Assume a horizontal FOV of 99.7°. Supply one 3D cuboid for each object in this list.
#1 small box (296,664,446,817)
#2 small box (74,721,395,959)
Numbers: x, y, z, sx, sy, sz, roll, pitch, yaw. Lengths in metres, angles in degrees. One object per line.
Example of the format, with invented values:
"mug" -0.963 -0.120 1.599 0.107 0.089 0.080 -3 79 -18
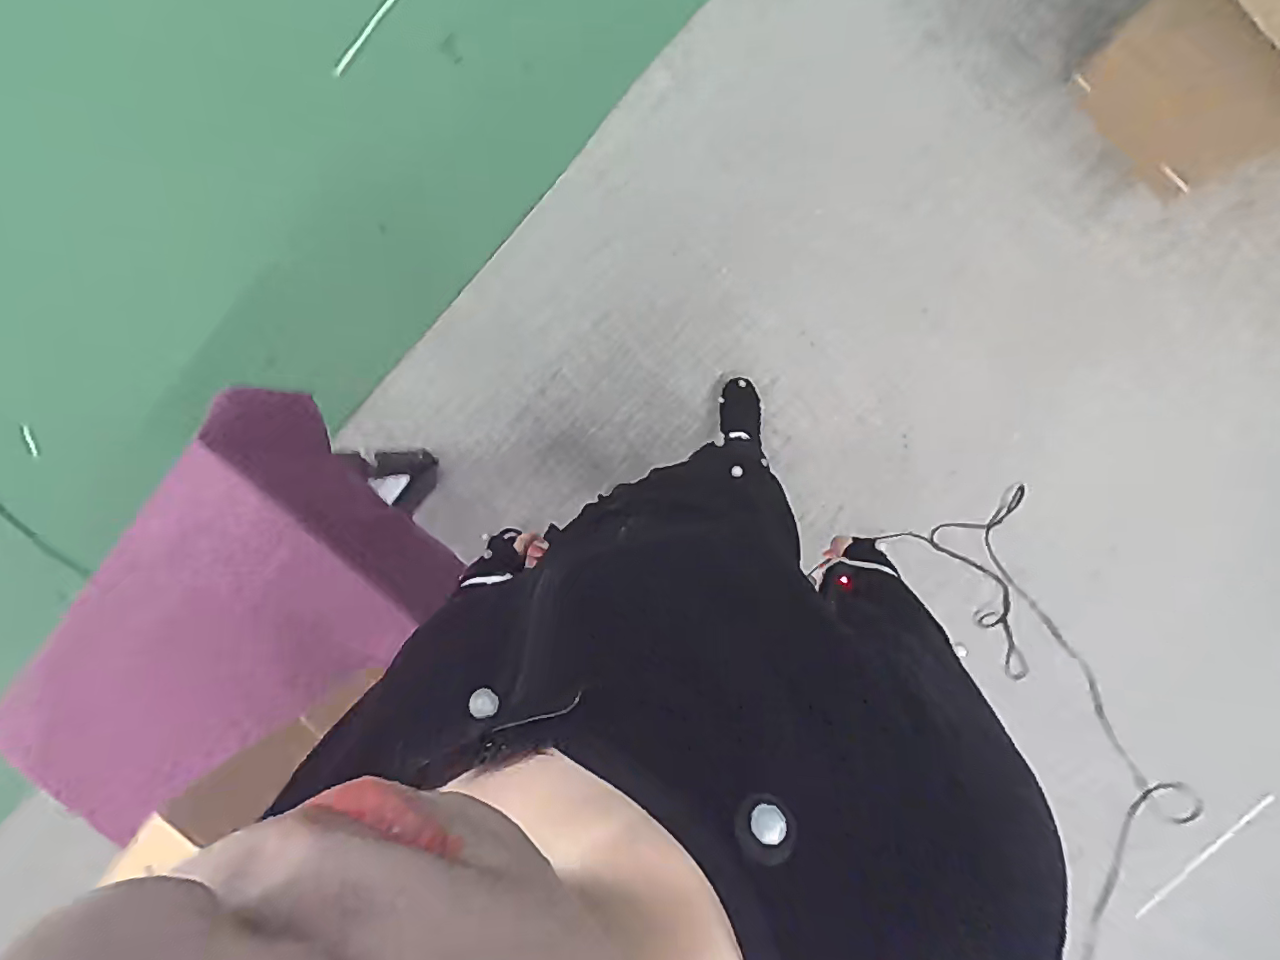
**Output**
"small box" -0.392 0.387 0.737 0.168 0.176 0.179 40 95 0
"small box" -0.403 0.397 0.572 0.179 0.176 0.168 39 95 0
